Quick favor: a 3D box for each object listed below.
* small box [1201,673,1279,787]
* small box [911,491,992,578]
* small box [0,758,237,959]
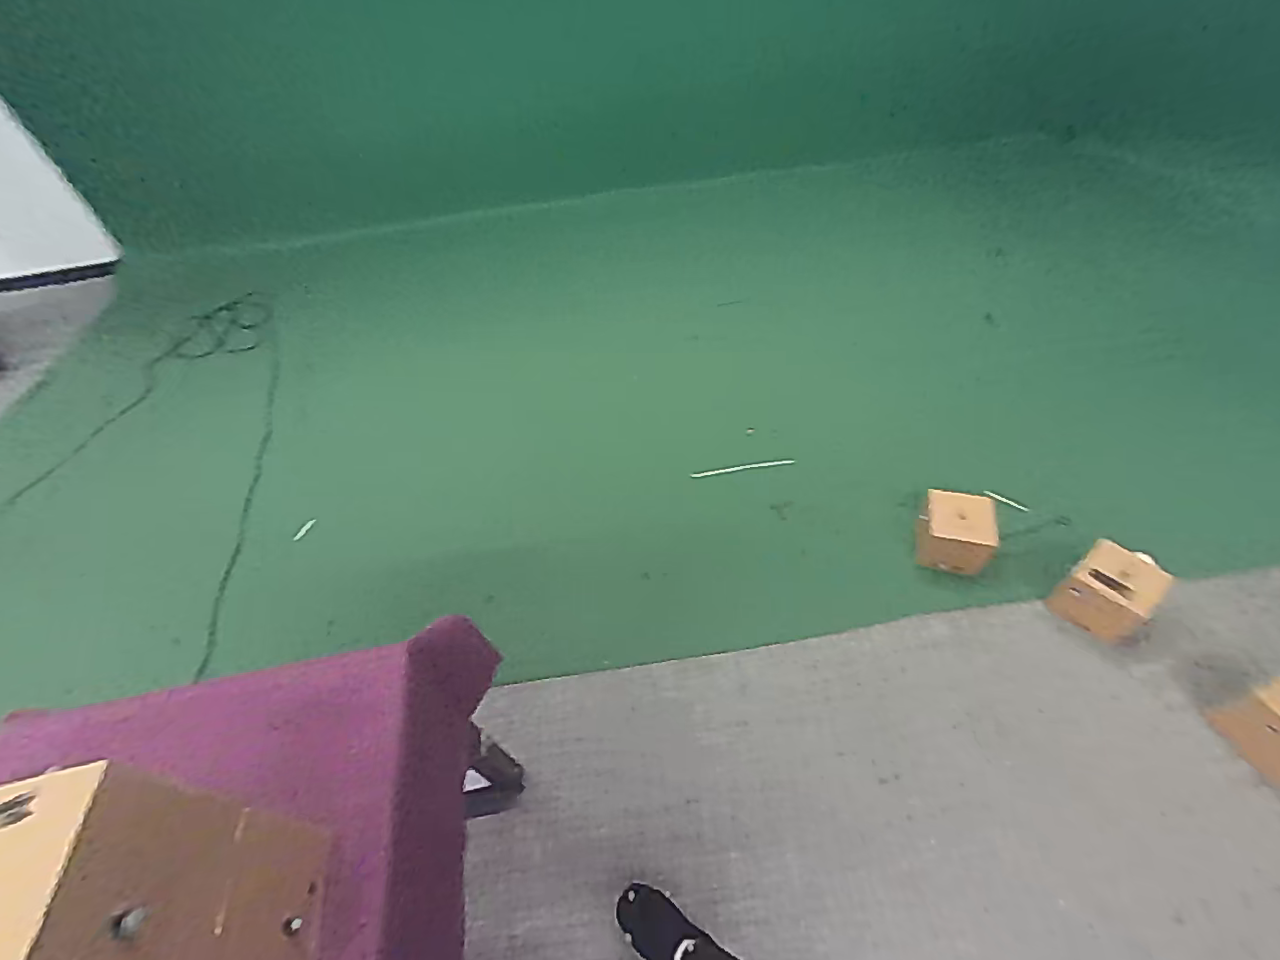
[{"bbox_3d":[1.440,0.551,1.205,0.168,0.176,0.179,-18,50,-8],"label":"small box"},{"bbox_3d":[0.916,0.162,1.607,0.168,0.176,0.179,10,51,15],"label":"small box"},{"bbox_3d":[-0.471,0.351,0.432,0.168,0.176,0.179,-13,50,-5],"label":"small box"}]
